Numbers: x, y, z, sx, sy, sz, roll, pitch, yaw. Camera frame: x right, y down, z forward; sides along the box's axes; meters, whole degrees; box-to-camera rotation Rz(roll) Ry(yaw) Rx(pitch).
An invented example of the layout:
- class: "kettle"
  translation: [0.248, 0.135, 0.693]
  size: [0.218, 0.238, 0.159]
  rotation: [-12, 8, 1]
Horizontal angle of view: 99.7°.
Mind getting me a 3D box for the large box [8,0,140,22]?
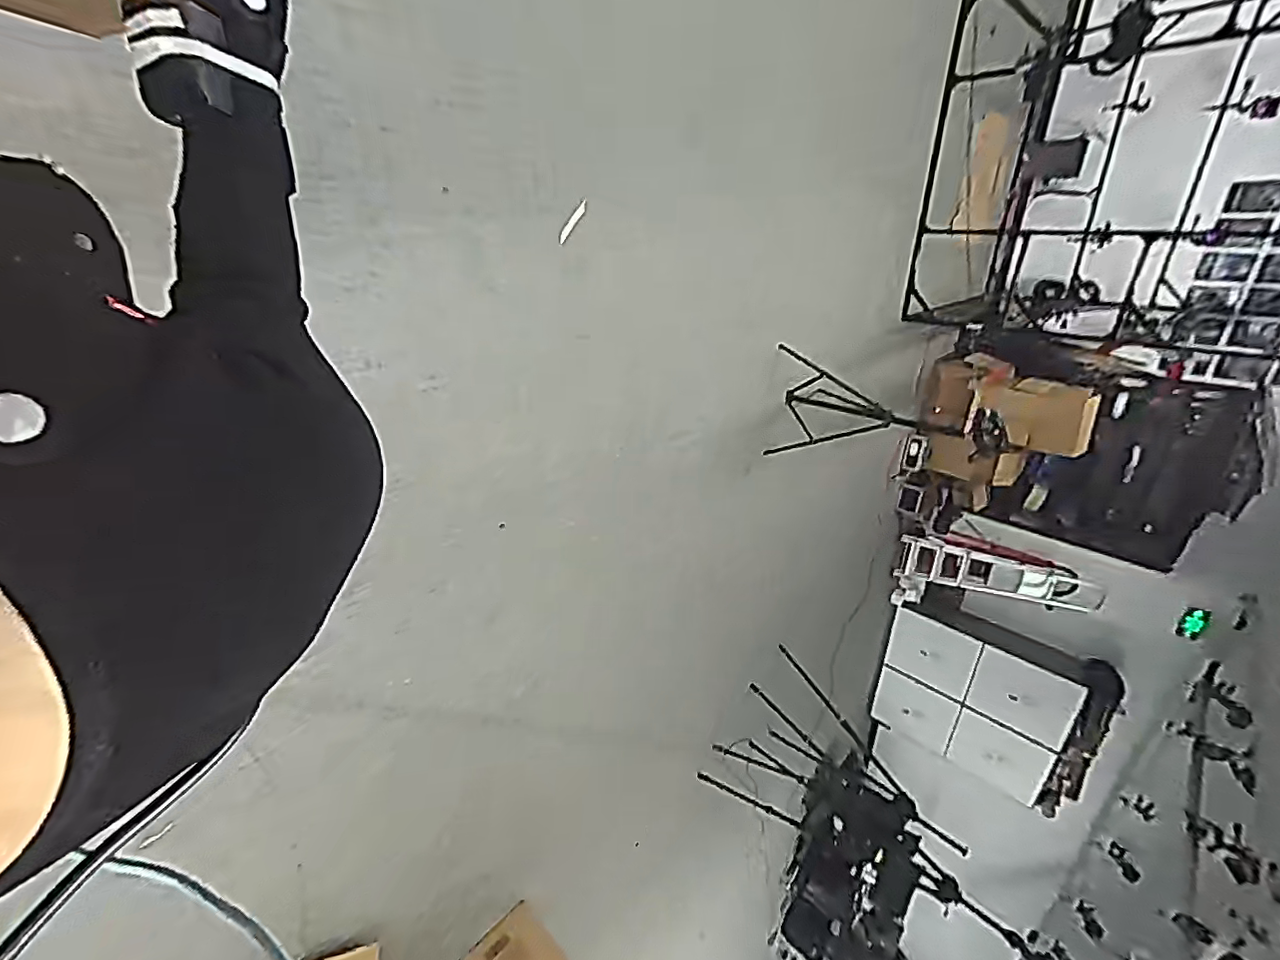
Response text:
- class: "large box"
  translation: [-0.538, -0.497, 0.257]
  size: [0.408, 0.320, 0.320]
  rotation: [-17, 127, -49]
